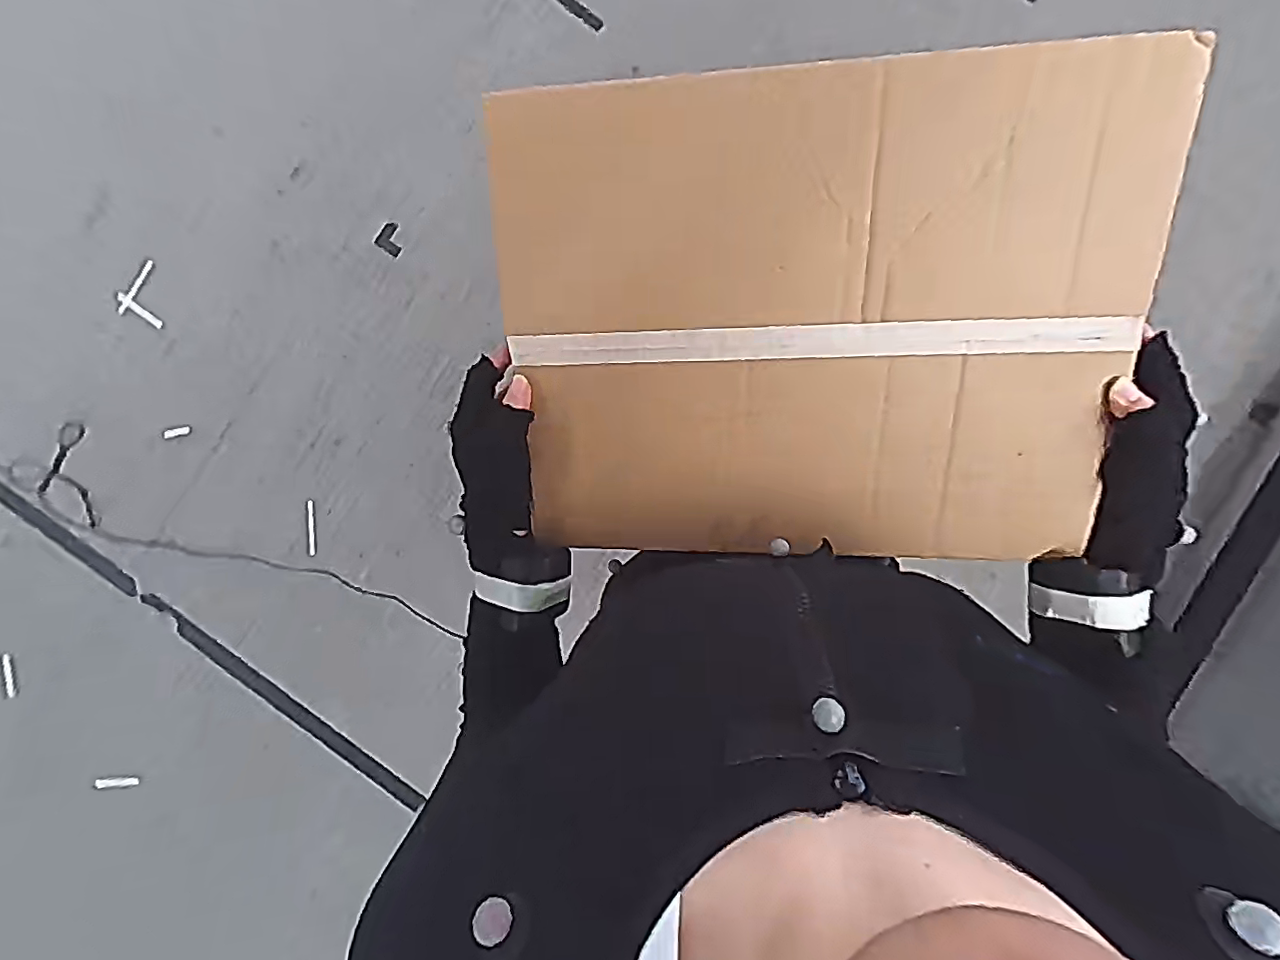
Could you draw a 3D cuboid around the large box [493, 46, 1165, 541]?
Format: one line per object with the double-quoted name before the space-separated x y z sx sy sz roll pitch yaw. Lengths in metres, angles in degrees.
"large box" 0.122 -0.146 0.516 0.408 0.320 0.320 0 111 7
